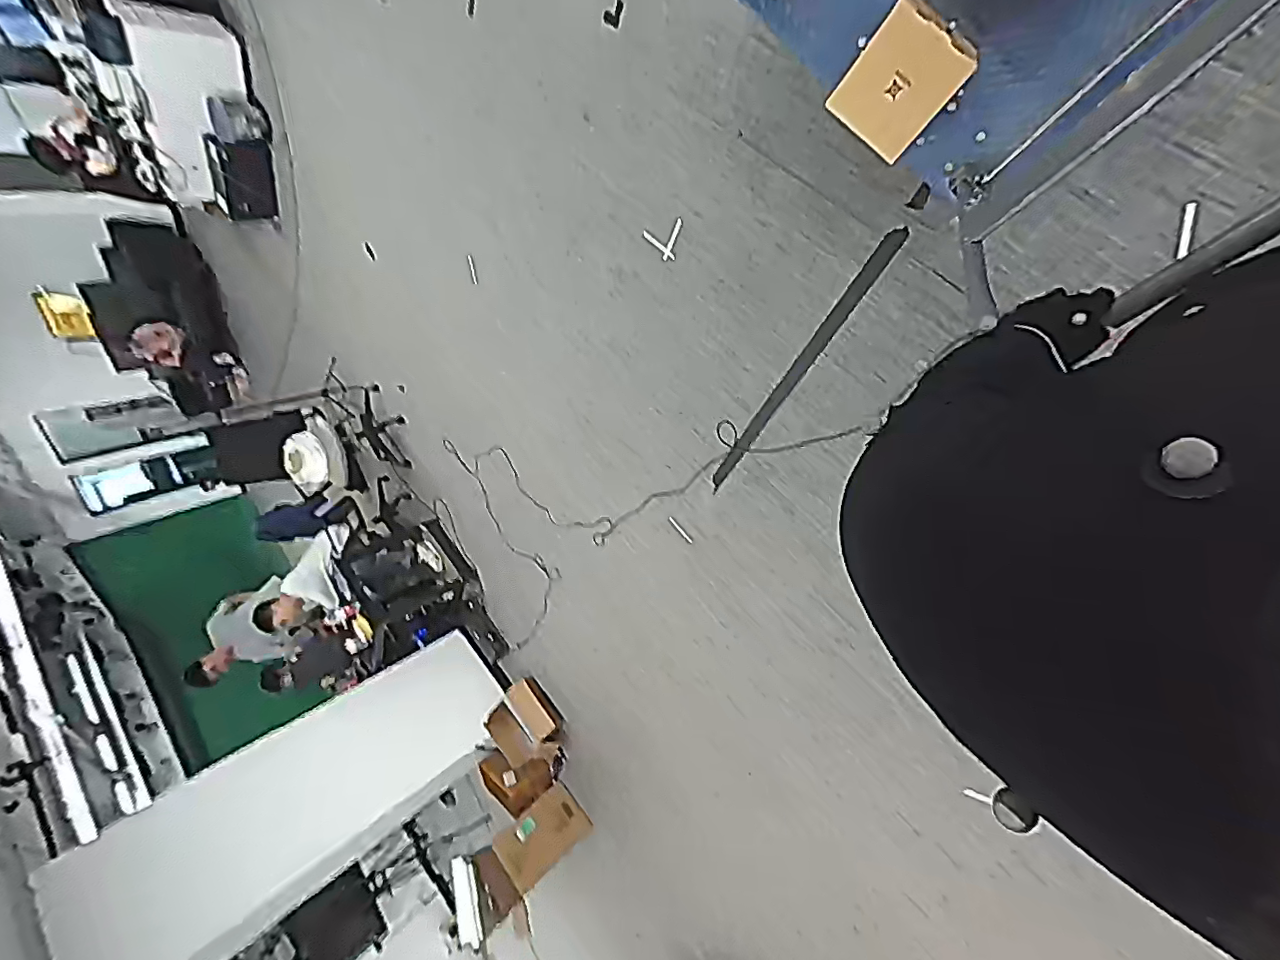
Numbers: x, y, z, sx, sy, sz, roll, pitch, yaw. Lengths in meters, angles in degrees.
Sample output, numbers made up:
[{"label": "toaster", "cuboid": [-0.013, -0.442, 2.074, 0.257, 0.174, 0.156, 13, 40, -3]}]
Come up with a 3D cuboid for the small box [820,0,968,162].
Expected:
[{"label": "small box", "cuboid": [0.457, -0.719, 0.970, 0.168, 0.176, 0.179, 37, 137, -6]}]
